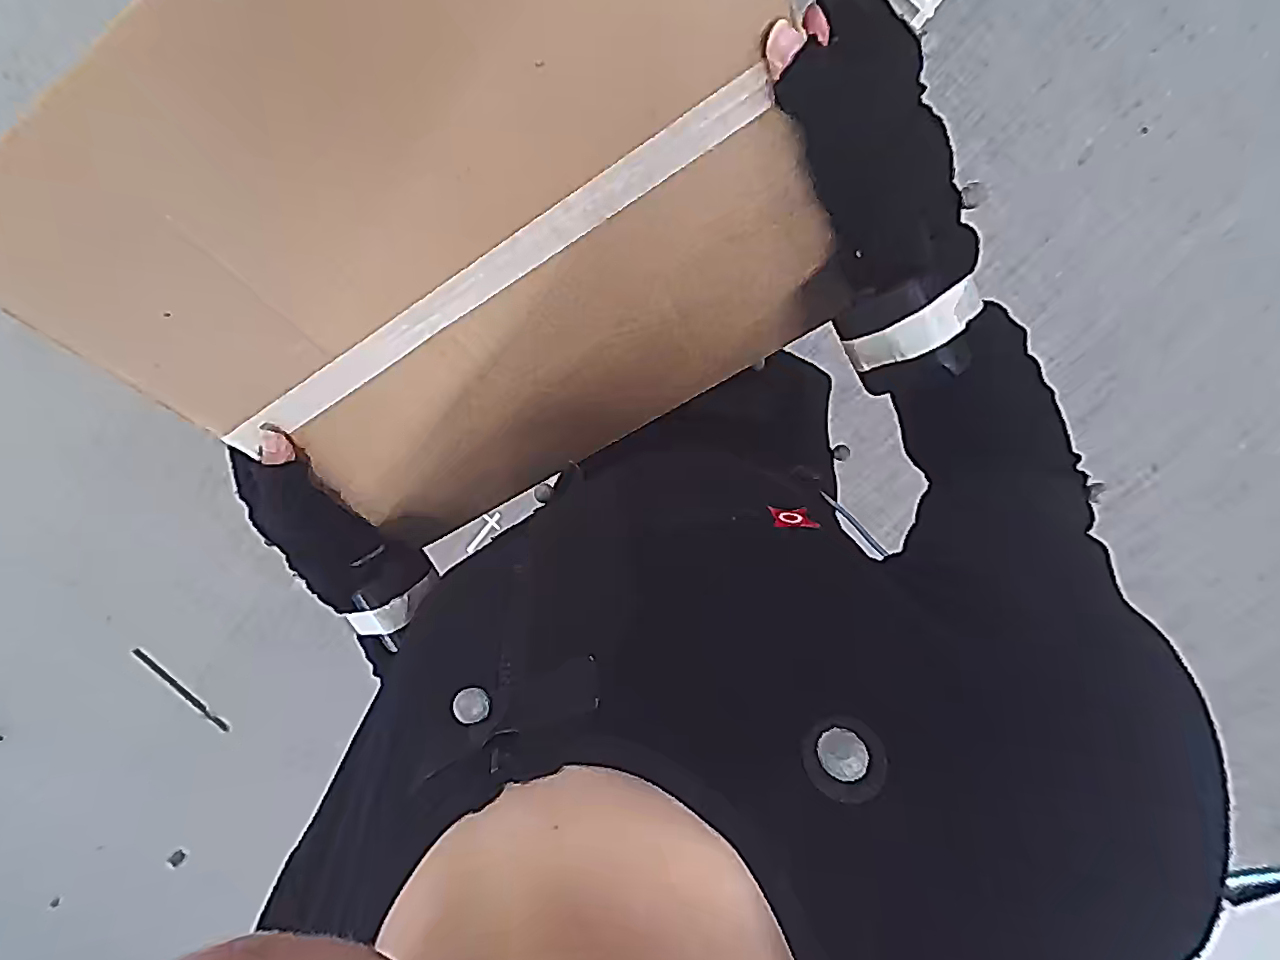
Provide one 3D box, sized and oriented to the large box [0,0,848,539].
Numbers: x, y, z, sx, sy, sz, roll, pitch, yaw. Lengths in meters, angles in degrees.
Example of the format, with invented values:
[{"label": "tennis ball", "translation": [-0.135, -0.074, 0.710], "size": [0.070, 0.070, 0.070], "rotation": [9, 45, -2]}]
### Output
[{"label": "large box", "translation": [-0.120, -0.224, 0.426], "size": [0.408, 0.320, 0.320], "rotation": [-28, 135, 14]}]
